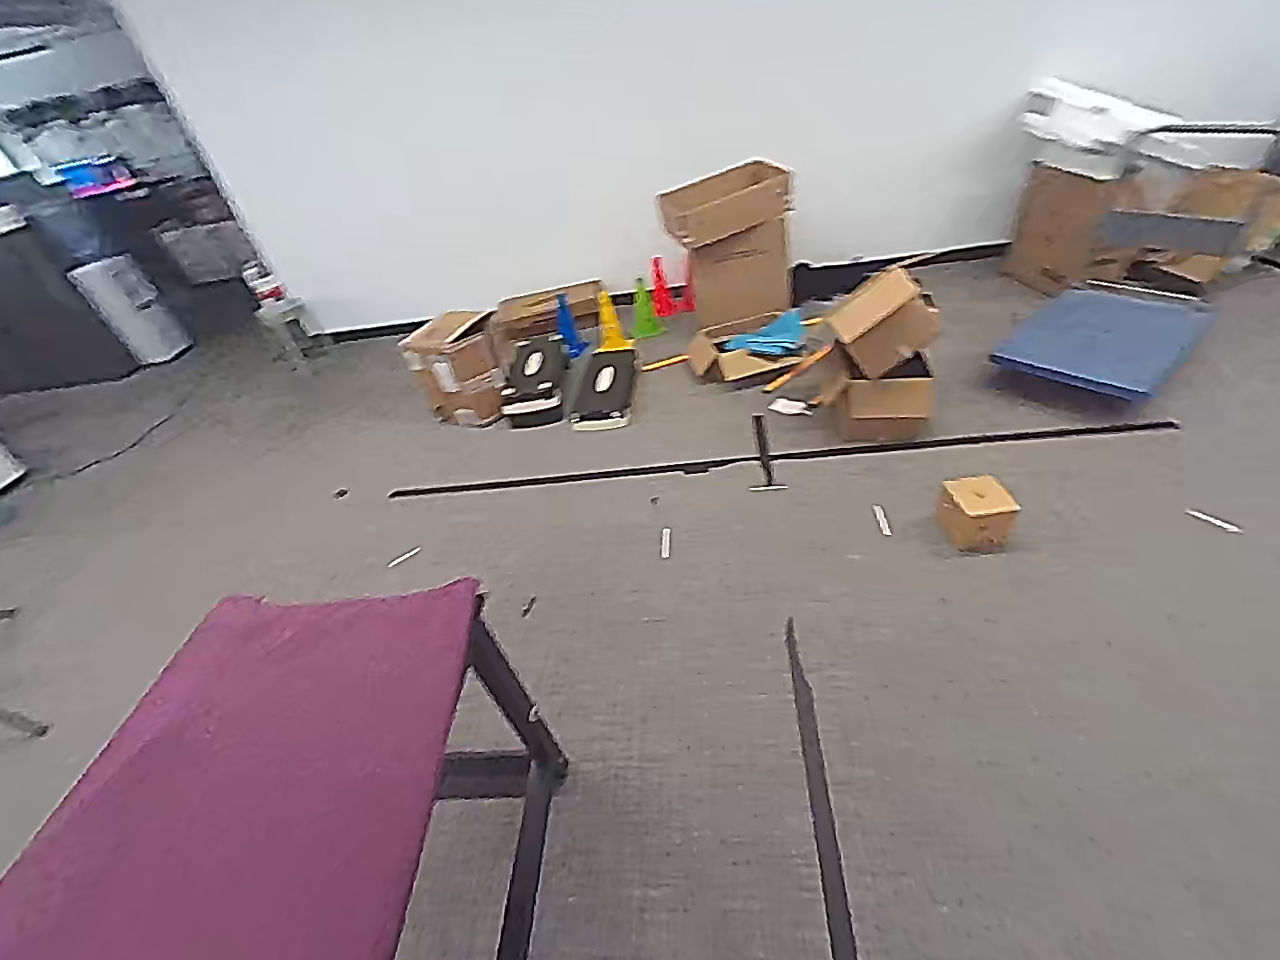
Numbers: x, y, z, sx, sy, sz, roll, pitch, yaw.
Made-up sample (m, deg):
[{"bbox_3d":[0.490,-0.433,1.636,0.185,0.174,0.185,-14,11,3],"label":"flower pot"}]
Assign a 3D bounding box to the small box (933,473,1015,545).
[{"bbox_3d":[1.134,0.106,1.850,0.168,0.176,0.179,-10,39,3],"label":"small box"}]
